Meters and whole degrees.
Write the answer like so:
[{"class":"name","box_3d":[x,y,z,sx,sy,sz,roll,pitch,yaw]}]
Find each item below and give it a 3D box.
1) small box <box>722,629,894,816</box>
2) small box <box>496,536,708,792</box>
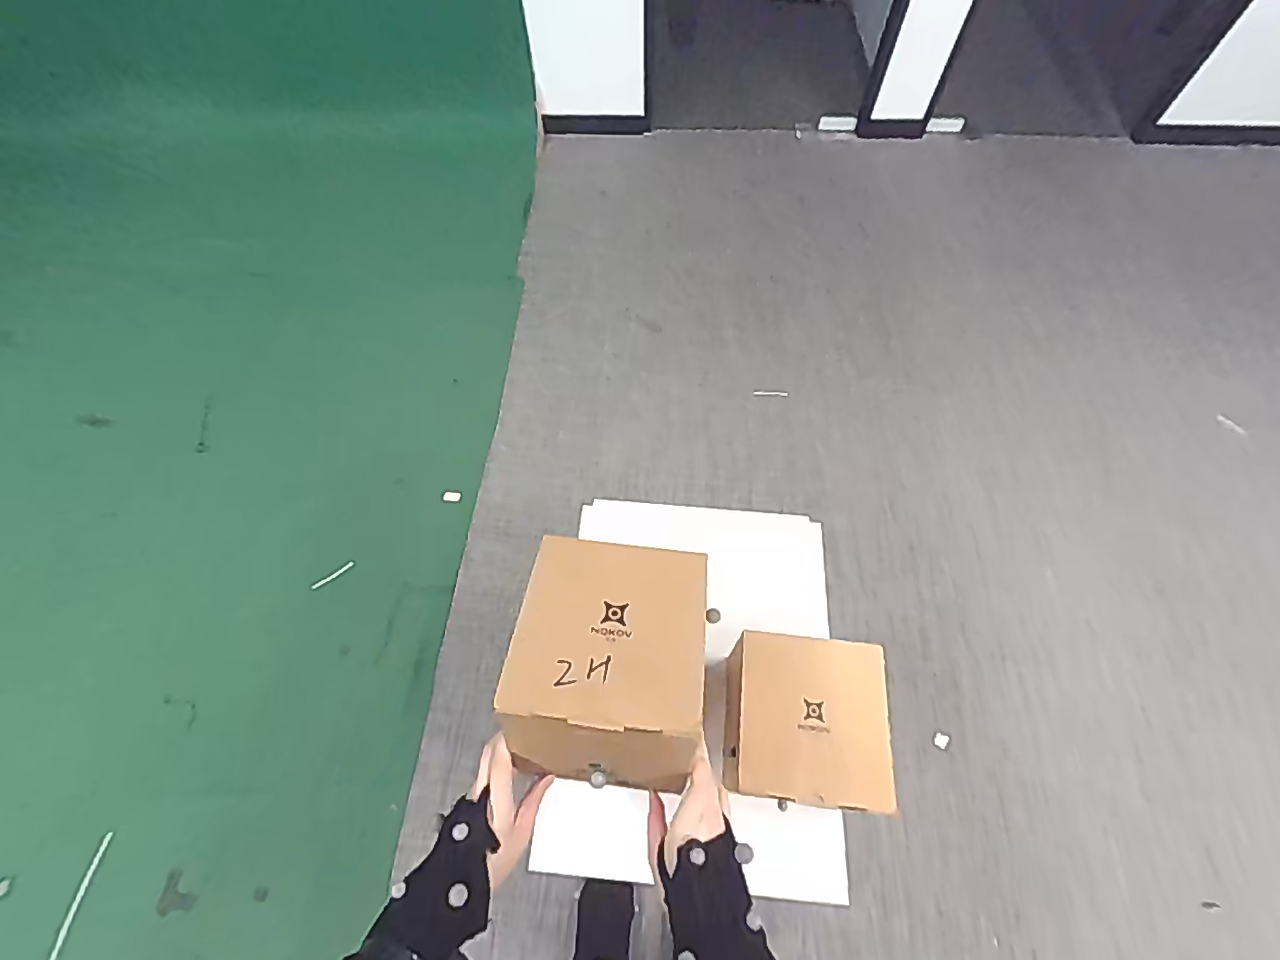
[{"class":"small box","box_3d":[0.195,0.301,0.675,0.168,0.176,0.179,5,63,5]},{"class":"small box","box_3d":[-0.027,0.181,0.534,0.168,0.176,0.179,6,48,4]}]
